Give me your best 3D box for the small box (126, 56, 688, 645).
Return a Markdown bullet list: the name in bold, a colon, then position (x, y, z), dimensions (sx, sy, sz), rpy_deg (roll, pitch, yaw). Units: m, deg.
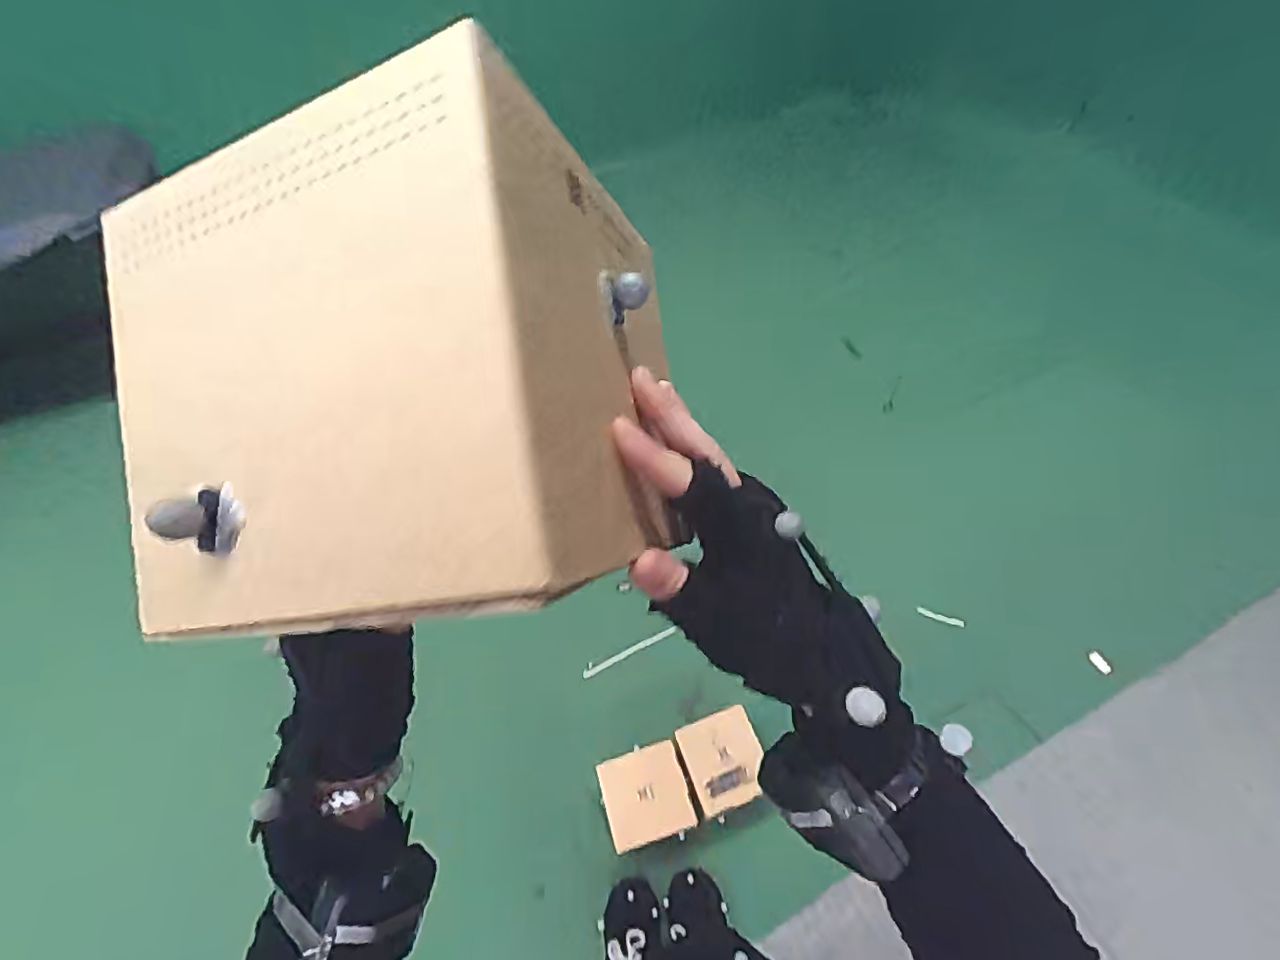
- **small box**: position (-0.092, -0.033, 0.252), dimensions (0.179, 0.168, 0.176), rpy_deg (-10, 88, 21)
